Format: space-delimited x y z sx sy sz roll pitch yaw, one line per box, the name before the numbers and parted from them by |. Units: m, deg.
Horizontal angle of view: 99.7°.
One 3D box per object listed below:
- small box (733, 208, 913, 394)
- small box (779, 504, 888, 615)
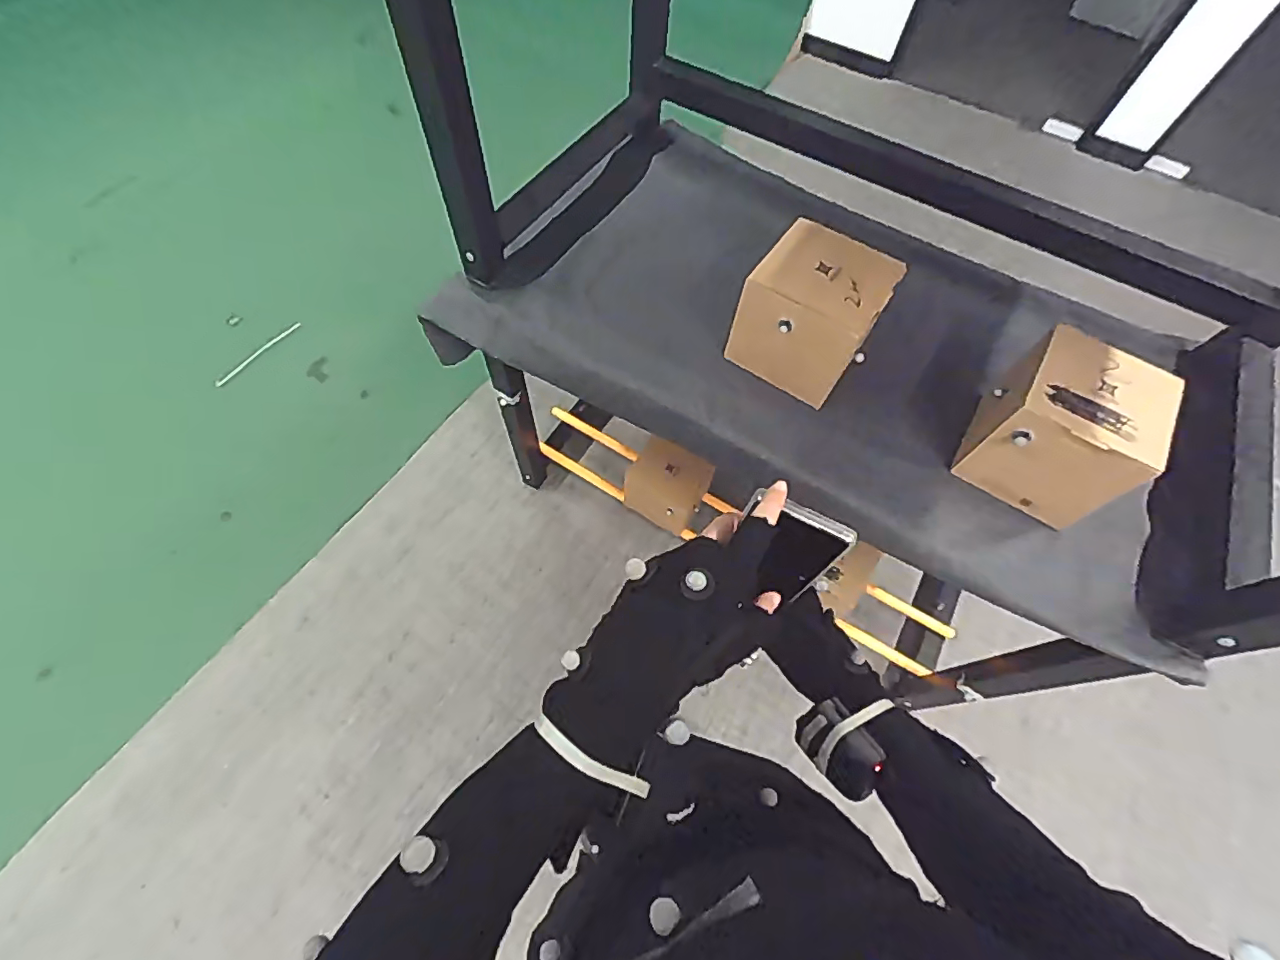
small box | 0.261 -0.261 0.812 0.179 0.176 0.168 33 66 13
small box | 0.450 0.196 1.289 0.168 0.176 0.179 33 66 13
